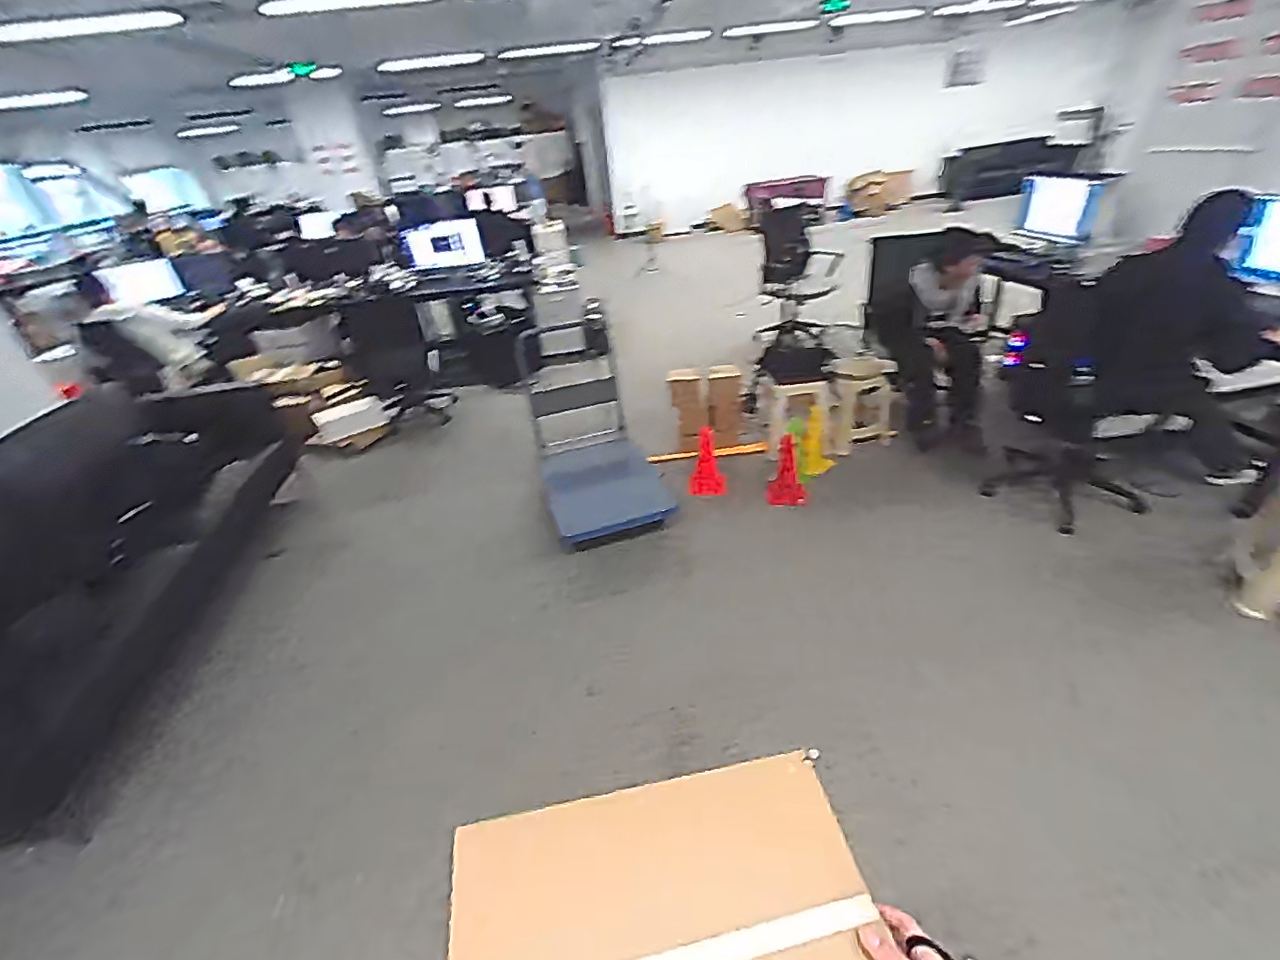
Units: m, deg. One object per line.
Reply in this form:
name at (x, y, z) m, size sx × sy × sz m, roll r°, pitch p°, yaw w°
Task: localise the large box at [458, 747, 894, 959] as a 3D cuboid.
large box at (0.031, 0.561, 0.597) m, size 0.408 × 0.320 × 0.320 m, roll -7°, pitch 40°, yaw -11°
